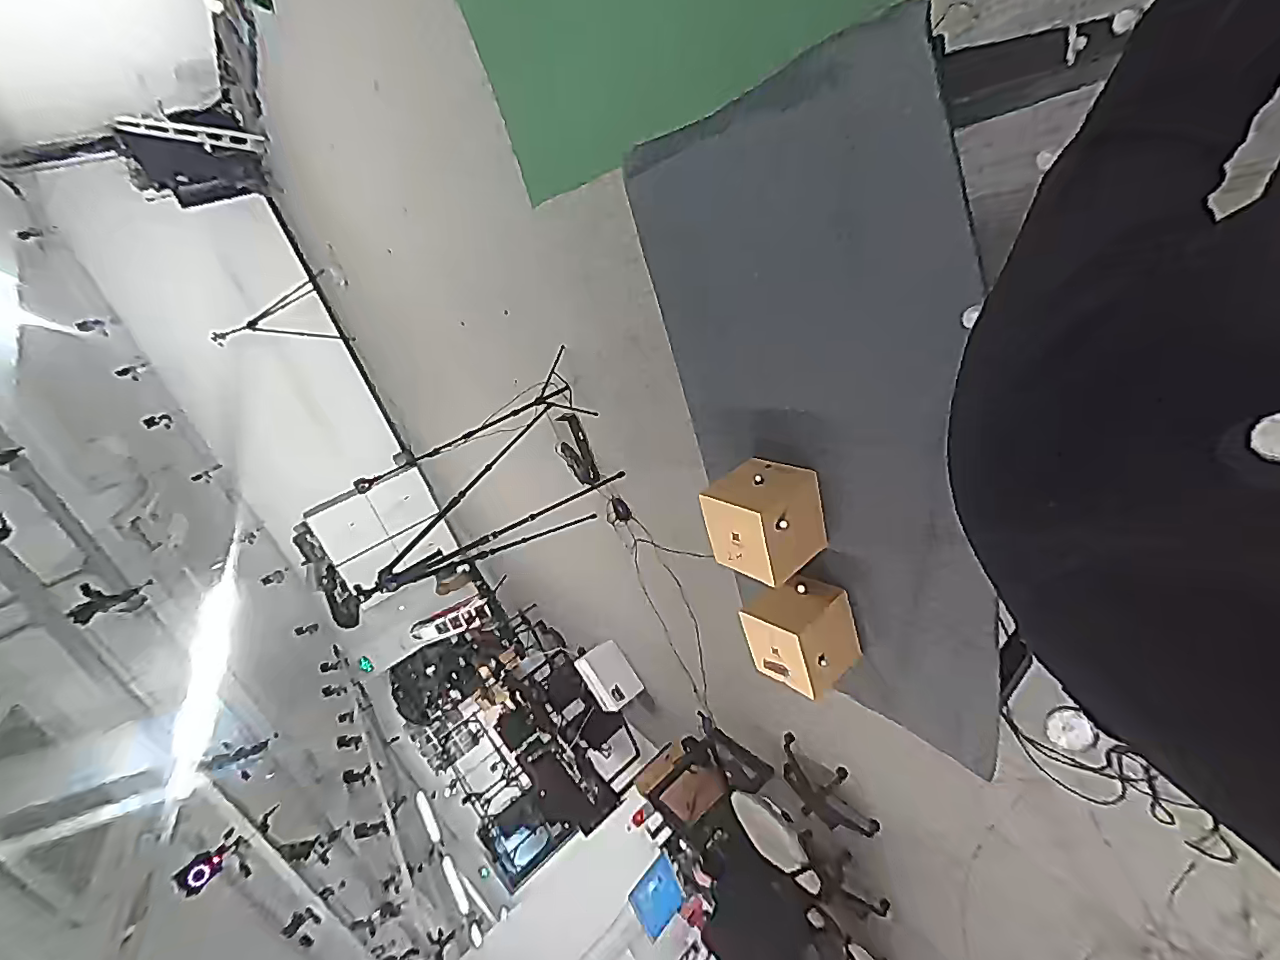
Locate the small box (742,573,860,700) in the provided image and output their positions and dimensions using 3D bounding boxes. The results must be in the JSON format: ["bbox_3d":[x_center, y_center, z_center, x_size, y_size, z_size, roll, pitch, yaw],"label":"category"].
[{"bbox_3d":[0.359,0.336,1.189,0.168,0.176,0.179,11,126,55],"label":"small box"}]

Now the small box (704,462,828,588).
[{"bbox_3d":[0.259,0.082,1.099,0.168,0.176,0.179,19,133,52],"label":"small box"}]
